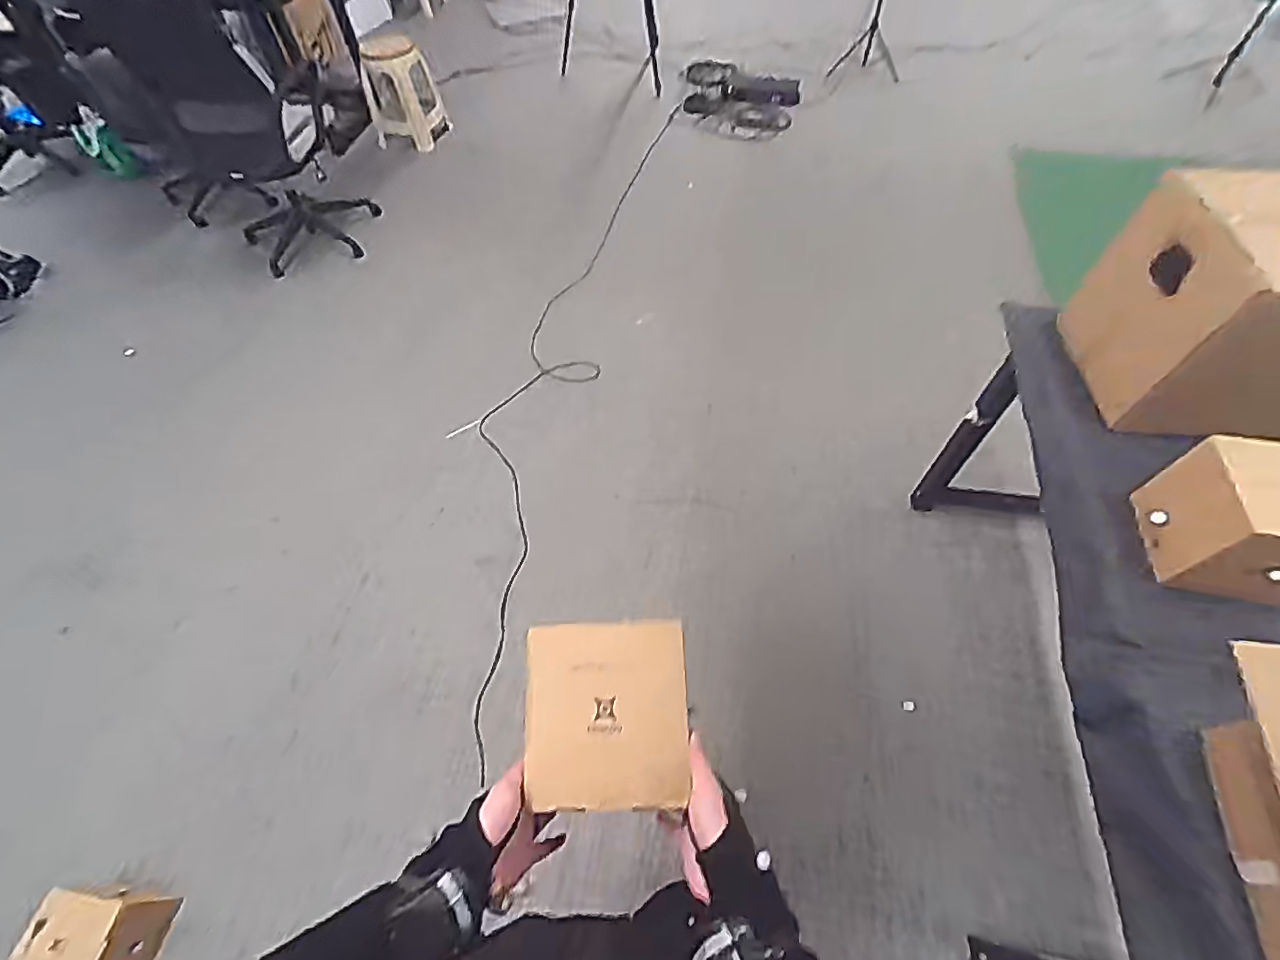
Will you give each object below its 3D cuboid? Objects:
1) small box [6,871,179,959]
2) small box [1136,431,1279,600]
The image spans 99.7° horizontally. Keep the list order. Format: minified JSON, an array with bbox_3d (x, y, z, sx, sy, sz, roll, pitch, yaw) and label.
[{"bbox_3d":[-1.150,0.949,1.146,0.179,0.176,0.168,7,59,5],"label":"small box"},{"bbox_3d":[0.871,0.056,0.764,0.179,0.176,0.168,10,59,9],"label":"small box"}]
